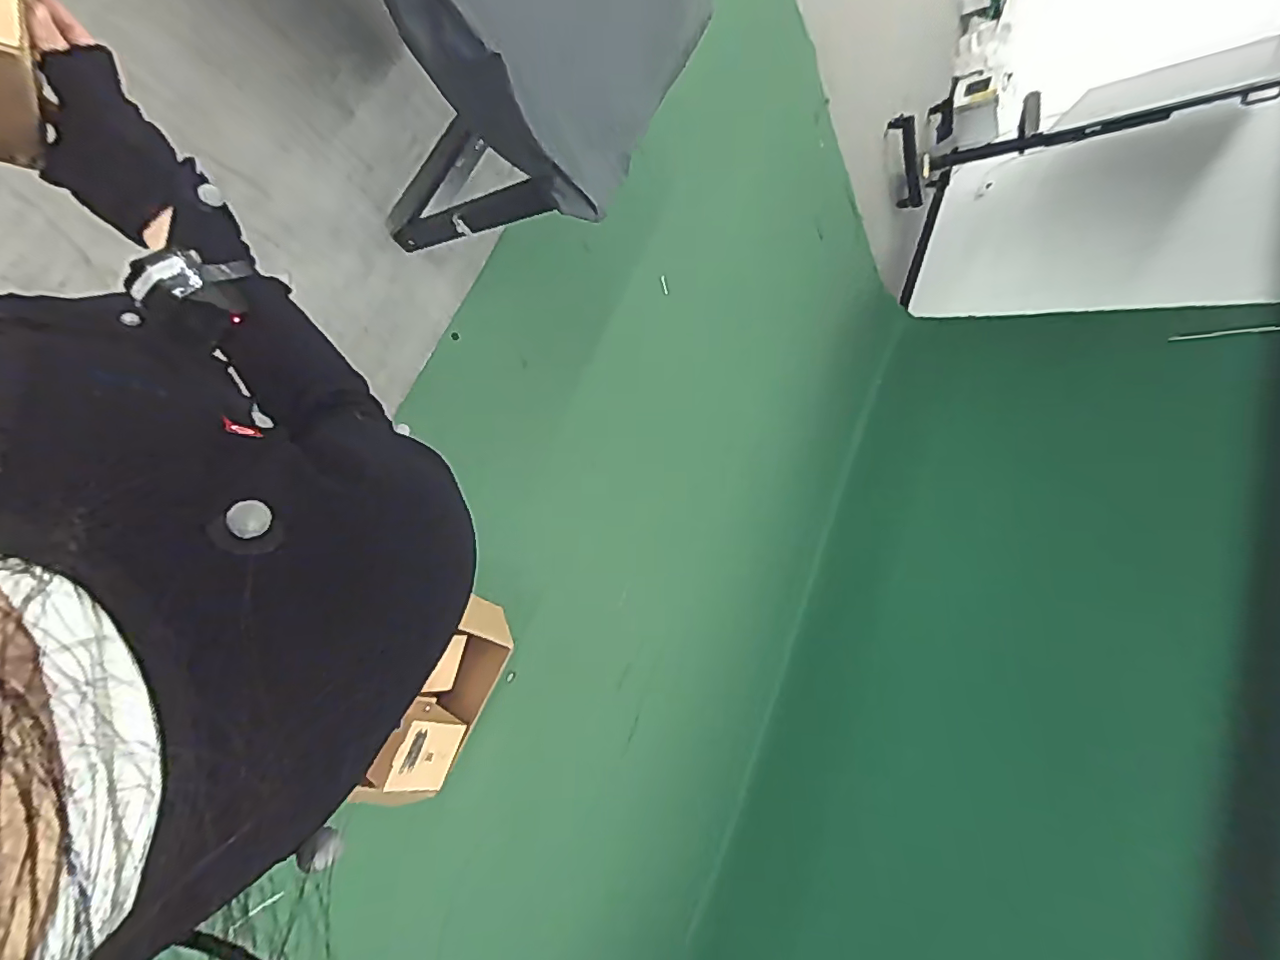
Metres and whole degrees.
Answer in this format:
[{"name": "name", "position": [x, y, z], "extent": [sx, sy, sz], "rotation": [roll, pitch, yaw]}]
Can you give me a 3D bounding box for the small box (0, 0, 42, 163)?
[{"name": "small box", "position": [-0.472, -0.324, 0.308], "extent": [0.168, 0.176, 0.179], "rotation": [-5, 96, -45]}]
